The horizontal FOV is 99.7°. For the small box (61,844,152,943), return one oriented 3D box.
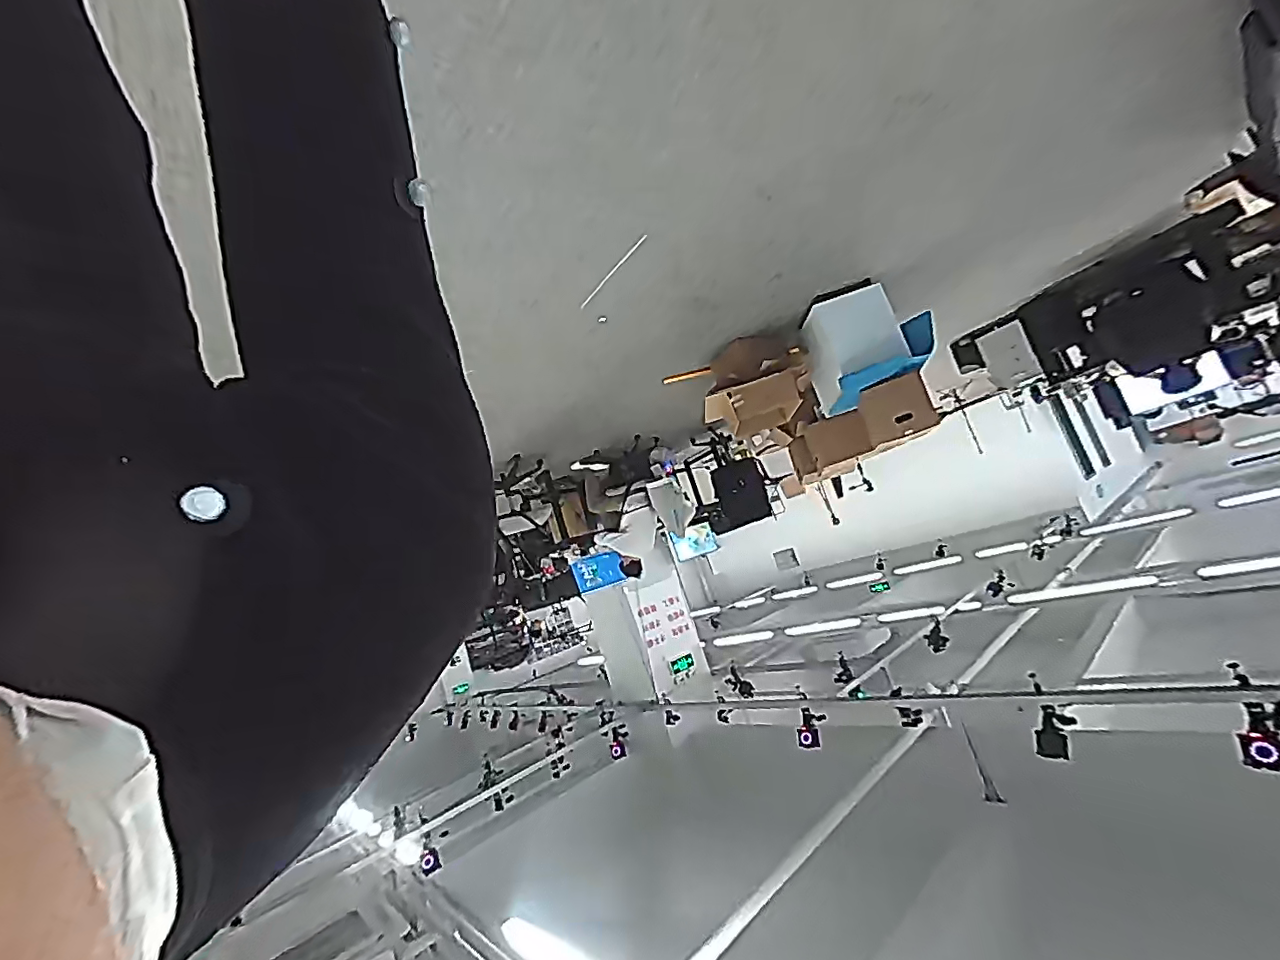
[{"bbox_3d":[-1.621,1.243,1.649,0.179,0.176,0.168,-10,168,-43],"label":"small box"}]
